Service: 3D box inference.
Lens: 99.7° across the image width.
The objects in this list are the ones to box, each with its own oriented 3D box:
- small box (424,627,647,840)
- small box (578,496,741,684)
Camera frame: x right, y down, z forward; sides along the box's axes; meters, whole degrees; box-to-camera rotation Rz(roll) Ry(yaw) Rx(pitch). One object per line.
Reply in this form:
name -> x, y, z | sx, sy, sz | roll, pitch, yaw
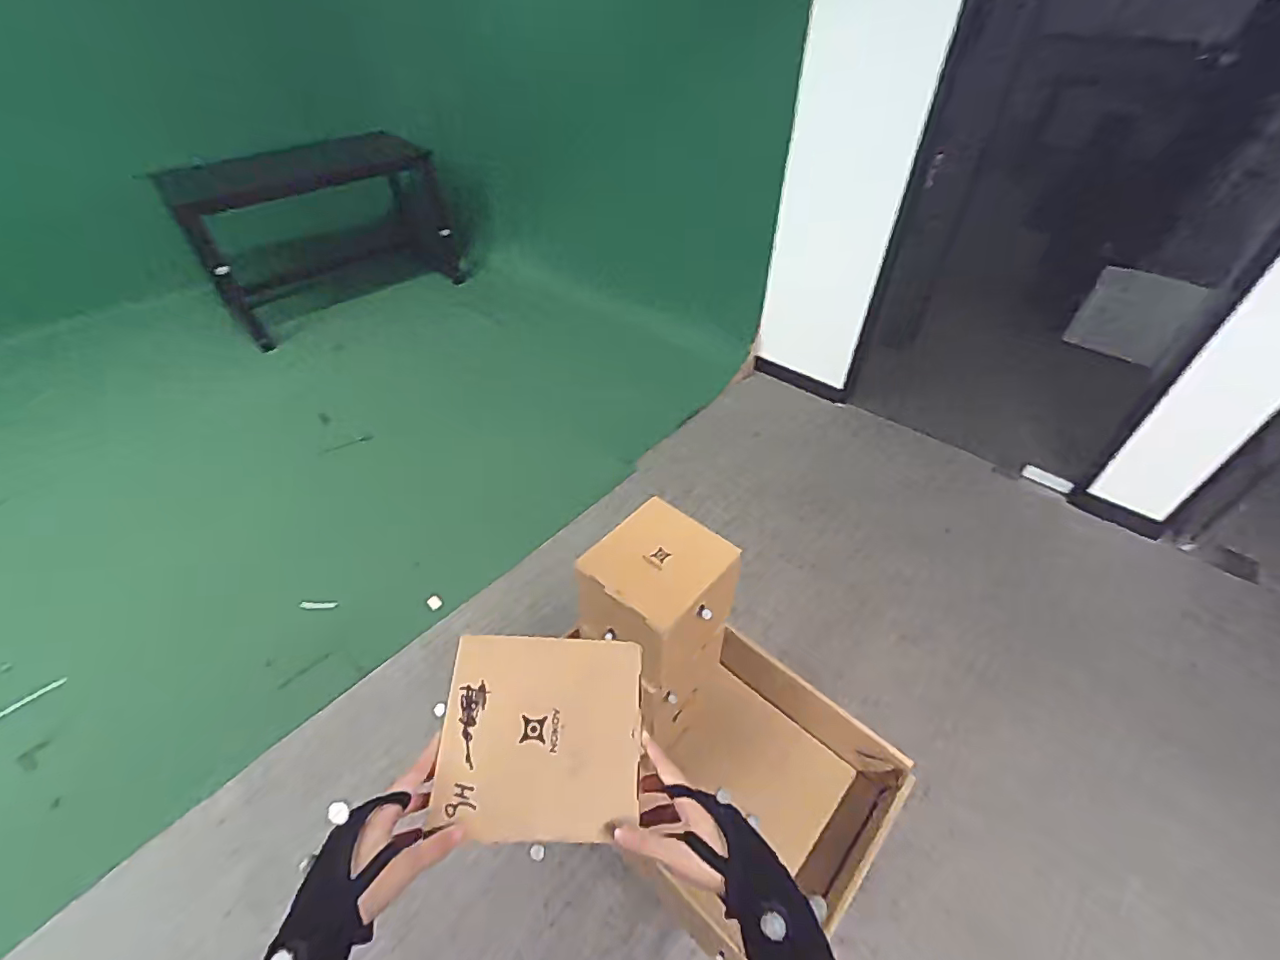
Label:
small box -> -0.093, 0.259, 0.543 | 0.179, 0.176, 0.168 | 5, 56, -5
small box -> 0.027, 0.163, 0.811 | 0.168, 0.176, 0.179 | 31, 54, 29
